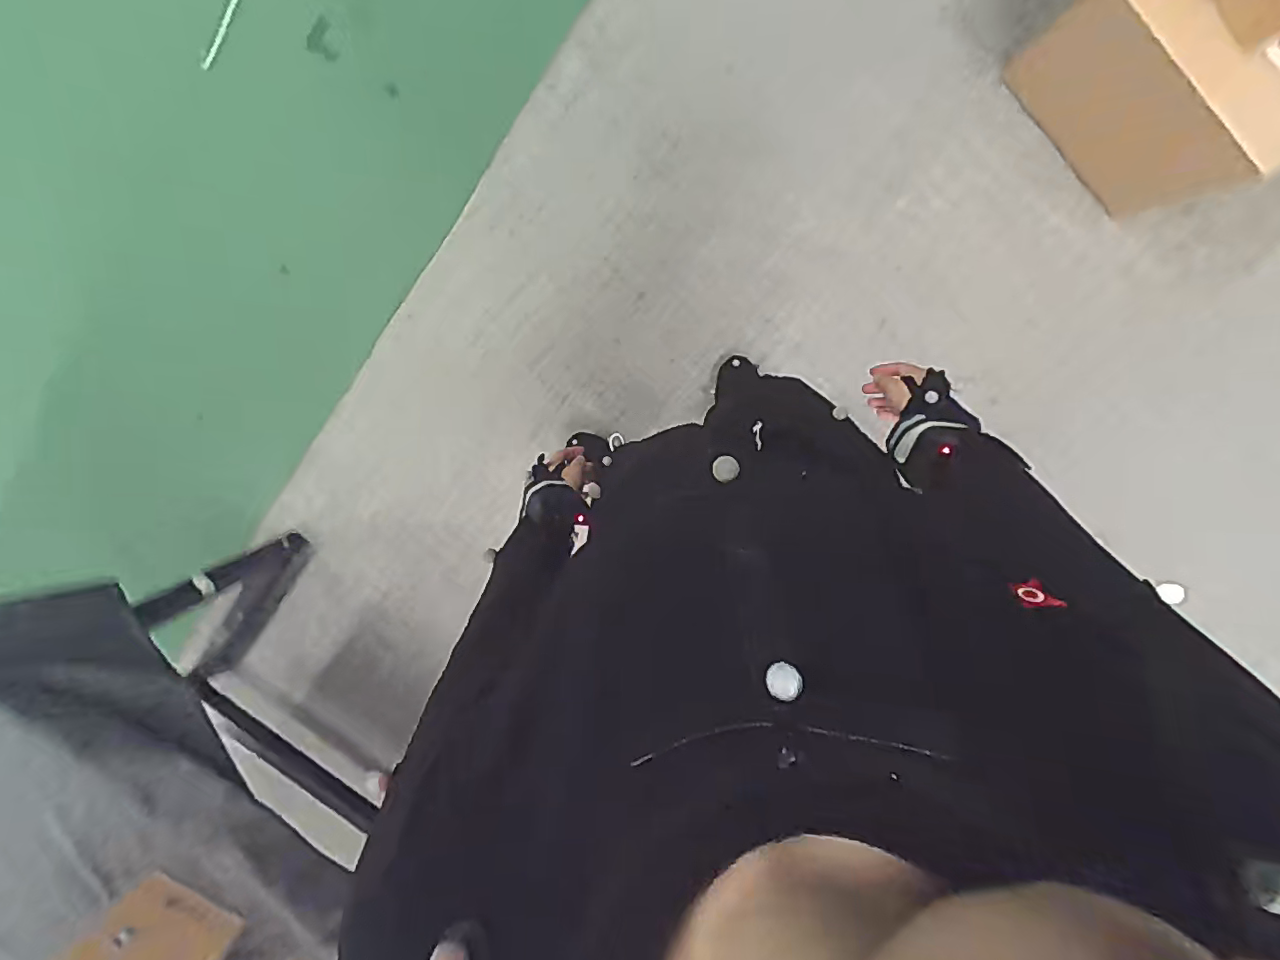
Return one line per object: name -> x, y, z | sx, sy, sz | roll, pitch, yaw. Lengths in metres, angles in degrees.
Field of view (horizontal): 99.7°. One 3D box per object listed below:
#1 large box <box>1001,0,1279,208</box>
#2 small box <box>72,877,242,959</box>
large box -> 0.954, -0.768, 0.935 | 0.408, 0.320, 0.320 | 44, 105, -7
small box -> -0.742, 0.746, 0.800 | 0.168, 0.176, 0.179 | 32, 106, -1
